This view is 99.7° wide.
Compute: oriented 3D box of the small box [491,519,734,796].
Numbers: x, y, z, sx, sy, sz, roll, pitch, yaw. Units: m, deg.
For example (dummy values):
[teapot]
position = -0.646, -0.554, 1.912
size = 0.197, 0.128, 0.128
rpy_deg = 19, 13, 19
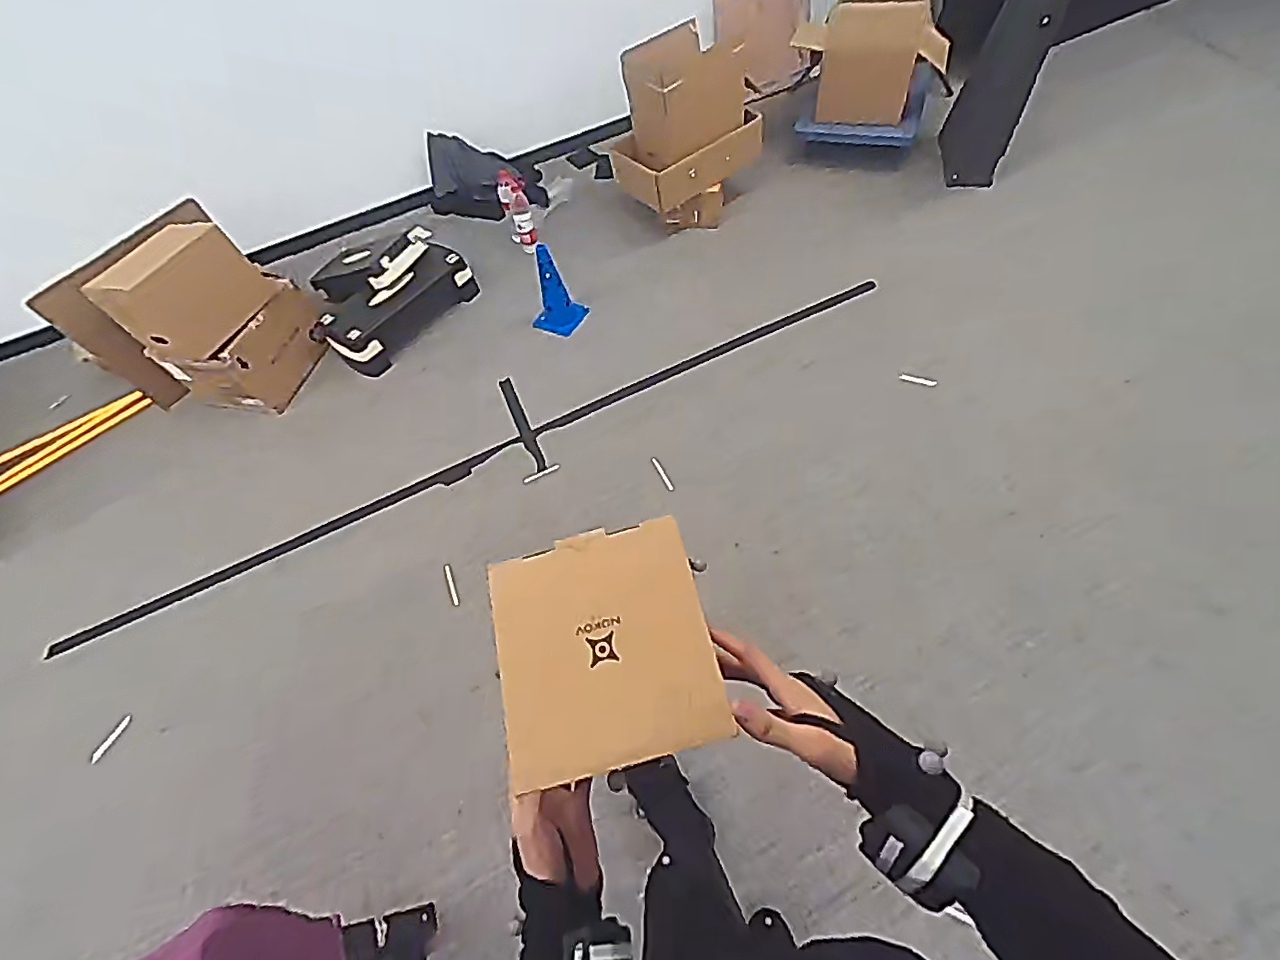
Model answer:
[small box]
position = -0.017, 0.162, 0.488
size = 0.168, 0.176, 0.179
rpy_deg = -16, 62, 1
